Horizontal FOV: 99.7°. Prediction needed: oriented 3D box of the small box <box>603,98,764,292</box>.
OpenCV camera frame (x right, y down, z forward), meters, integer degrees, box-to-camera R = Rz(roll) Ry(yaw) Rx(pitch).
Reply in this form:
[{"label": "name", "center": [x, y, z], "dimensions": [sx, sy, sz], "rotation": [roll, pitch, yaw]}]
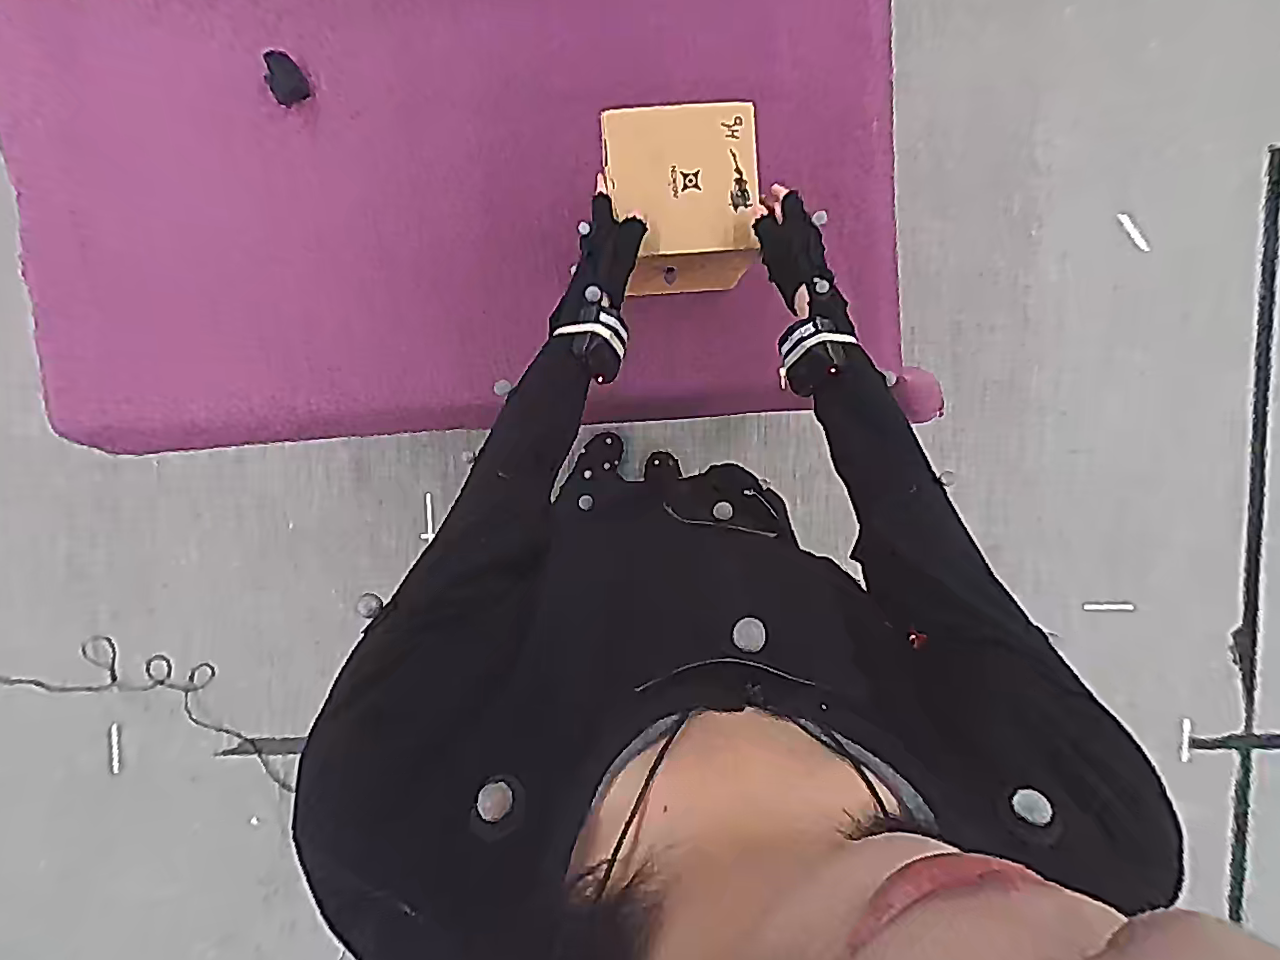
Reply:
[{"label": "small box", "center": [0.050, -0.349, 0.694], "dimensions": [0.179, 0.176, 0.168], "rotation": [-4, 94, -1]}]
